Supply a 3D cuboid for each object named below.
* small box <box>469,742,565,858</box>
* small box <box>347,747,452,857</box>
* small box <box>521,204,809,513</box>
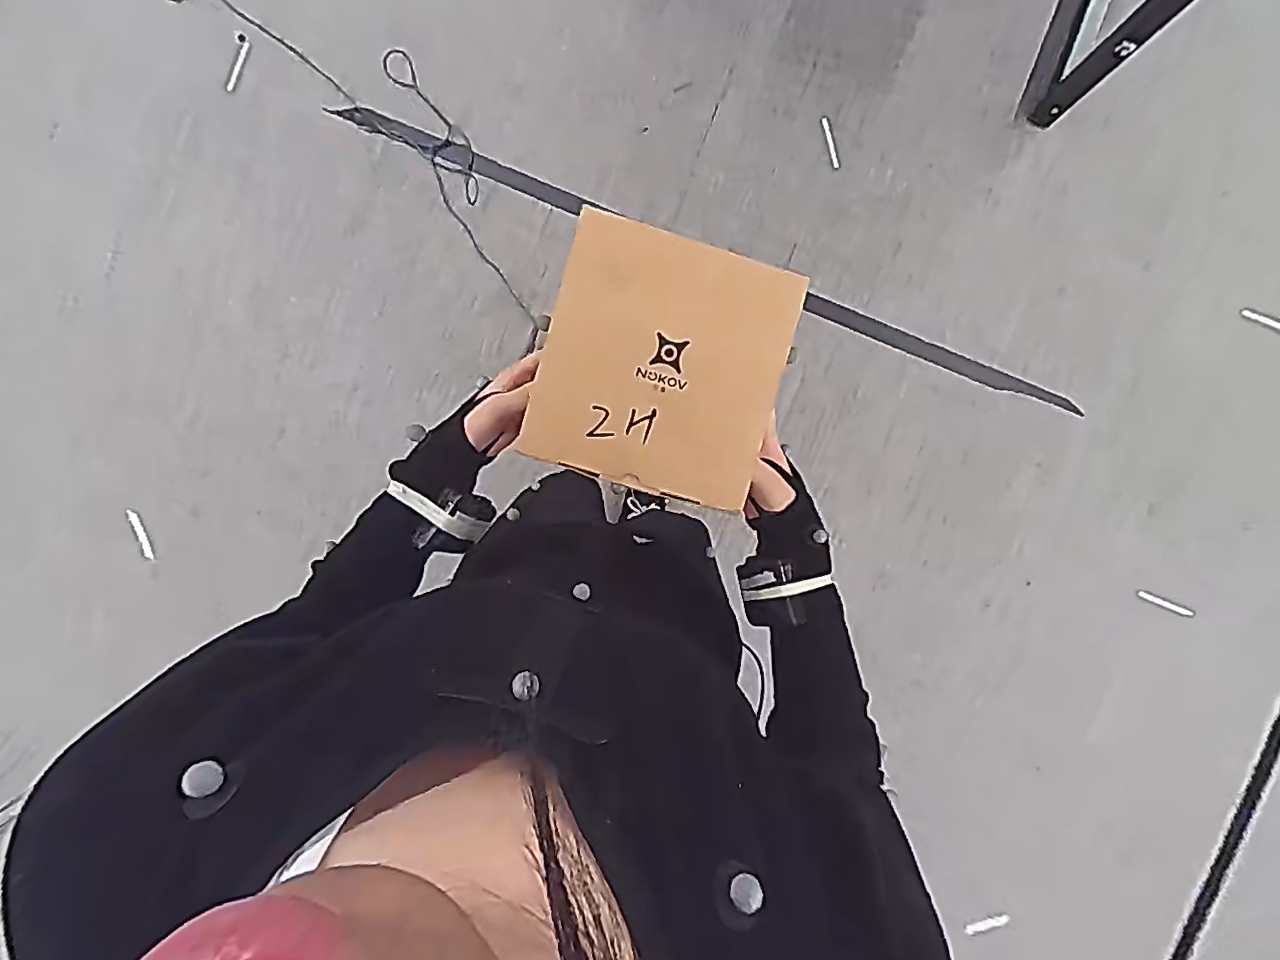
[{"bbox_3d":[-0.314,0.831,1.424,0.179,0.176,0.168,30,91,-2],"label":"small box"},{"bbox_3d":[-0.629,0.841,1.432,0.179,0.176,0.168,16,93,1],"label":"small box"},{"bbox_3d":[0.012,-0.086,0.451,0.168,0.176,0.179,16,93,-5],"label":"small box"}]
